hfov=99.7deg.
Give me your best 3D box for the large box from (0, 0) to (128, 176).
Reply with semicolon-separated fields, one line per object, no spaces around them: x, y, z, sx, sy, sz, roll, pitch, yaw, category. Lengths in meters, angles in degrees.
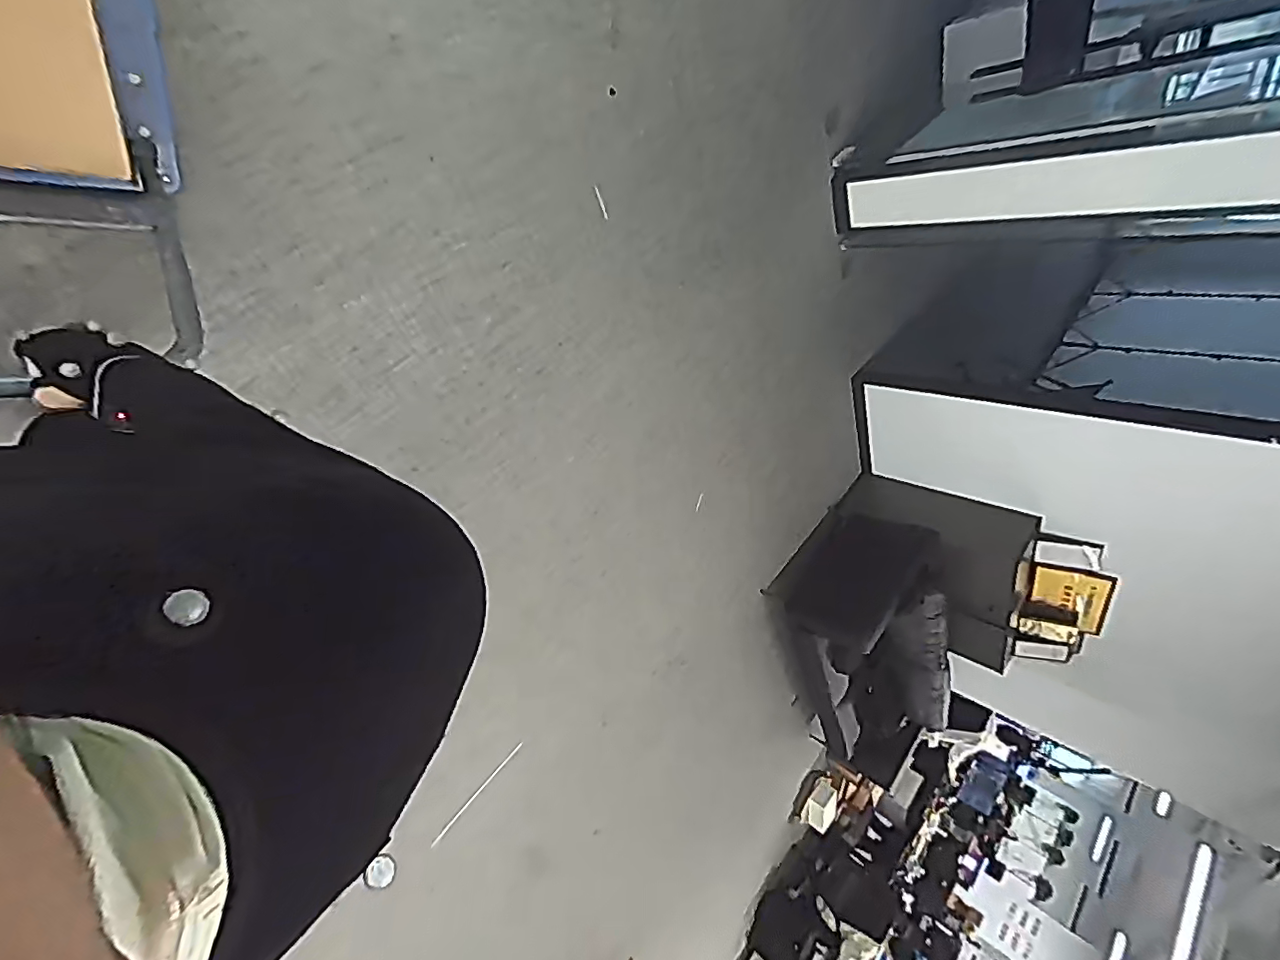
-0.905;-0.656;0.677;0.320;0.320;0.408;-13;133;-38;large box
